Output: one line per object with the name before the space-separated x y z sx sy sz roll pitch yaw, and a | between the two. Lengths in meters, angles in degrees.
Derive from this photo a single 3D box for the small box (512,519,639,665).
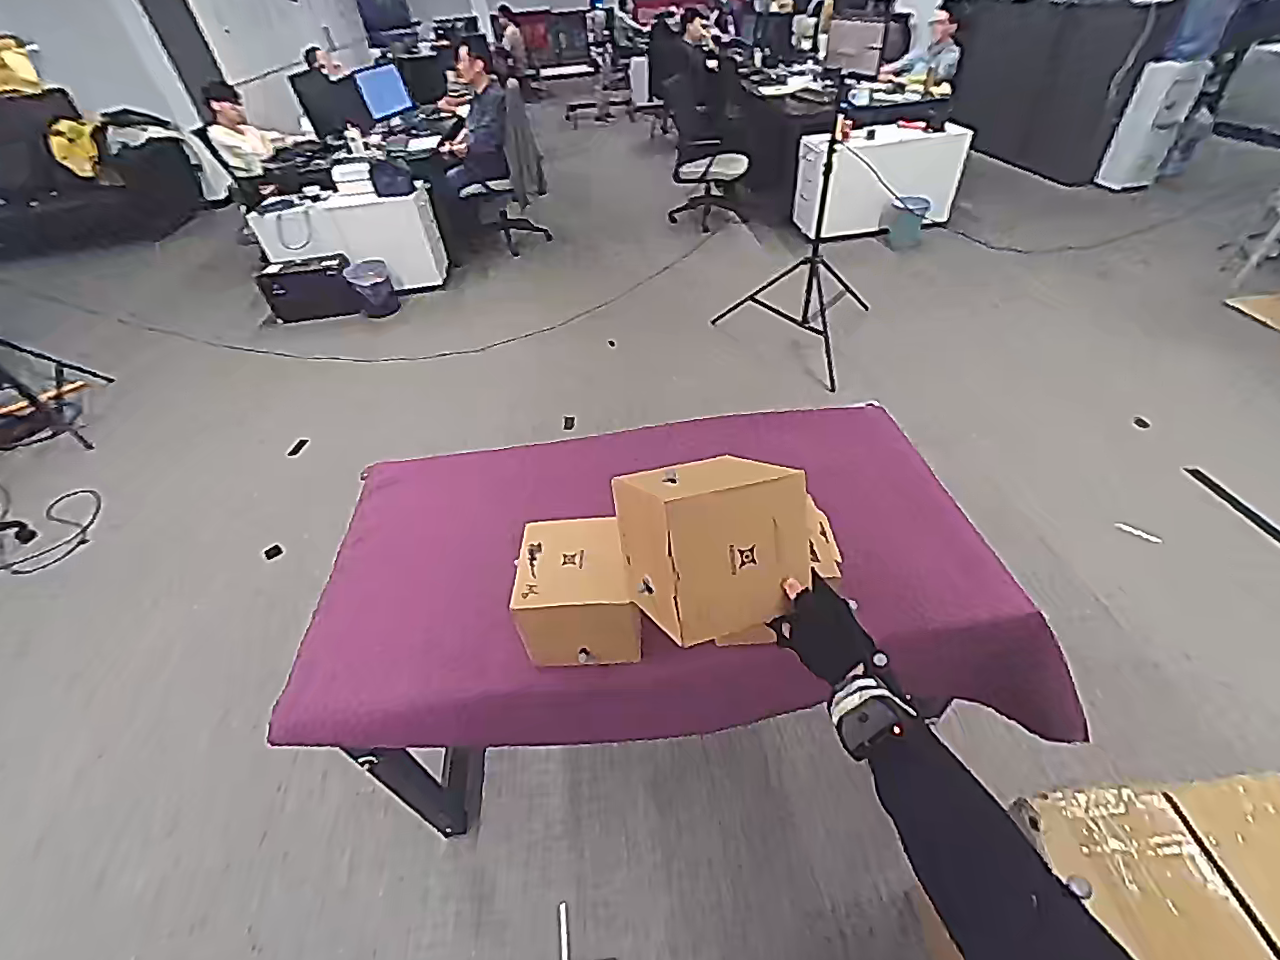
small box | -0.092 0.181 0.871 0.179 0.176 0.168 -3 42 2

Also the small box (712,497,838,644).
small box | 0.198 0.147 0.875 0.179 0.176 0.168 -5 42 2

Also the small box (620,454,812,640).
small box | 0.084 0.067 0.666 0.179 0.168 0.176 -12 13 -21
